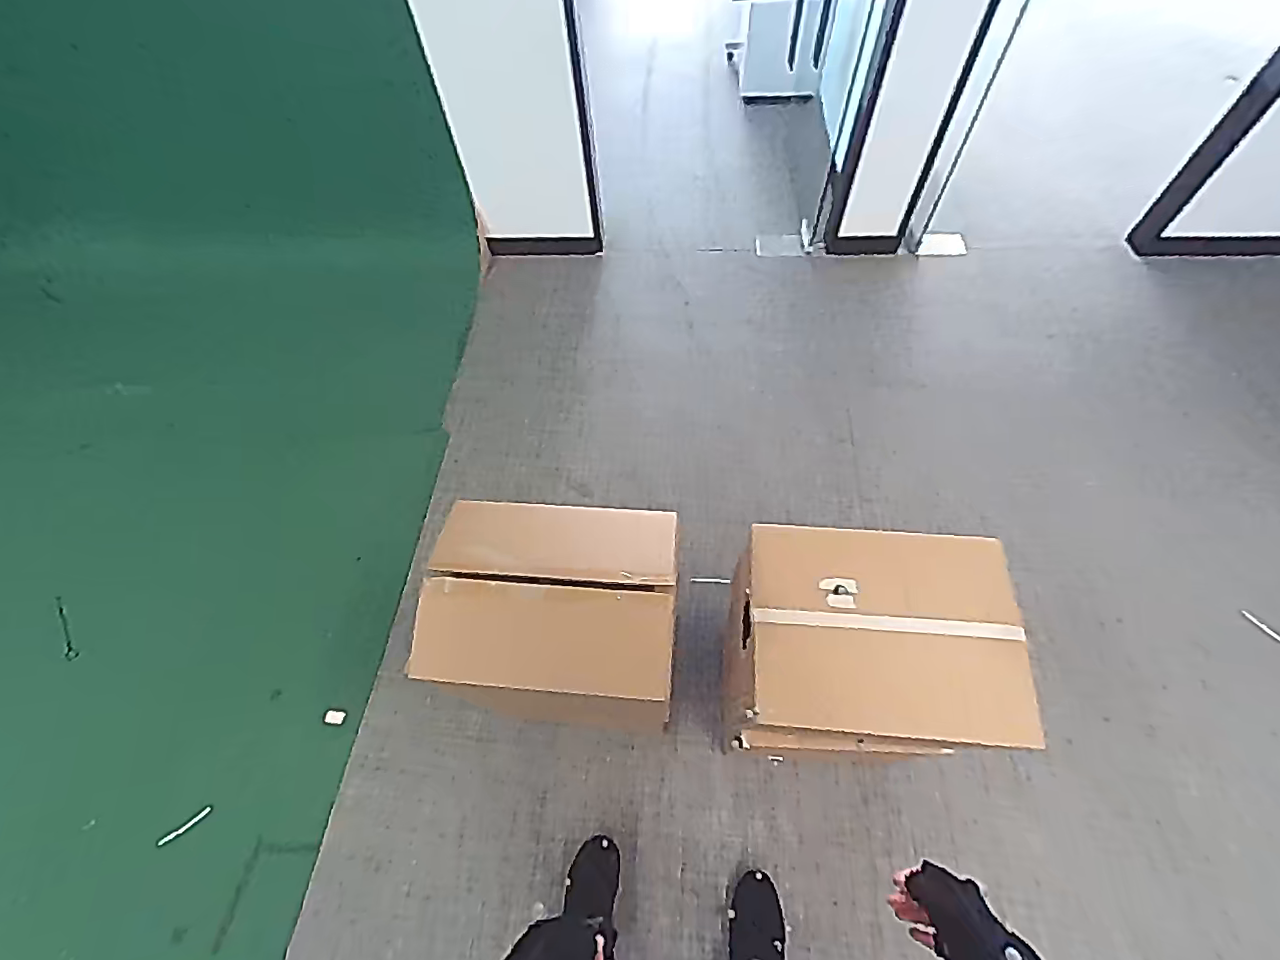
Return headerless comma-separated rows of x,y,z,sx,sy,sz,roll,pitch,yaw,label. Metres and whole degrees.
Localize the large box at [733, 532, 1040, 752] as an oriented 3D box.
0.381,0.294,0.962,0.408,0.320,0.320,2,63,6,large box
